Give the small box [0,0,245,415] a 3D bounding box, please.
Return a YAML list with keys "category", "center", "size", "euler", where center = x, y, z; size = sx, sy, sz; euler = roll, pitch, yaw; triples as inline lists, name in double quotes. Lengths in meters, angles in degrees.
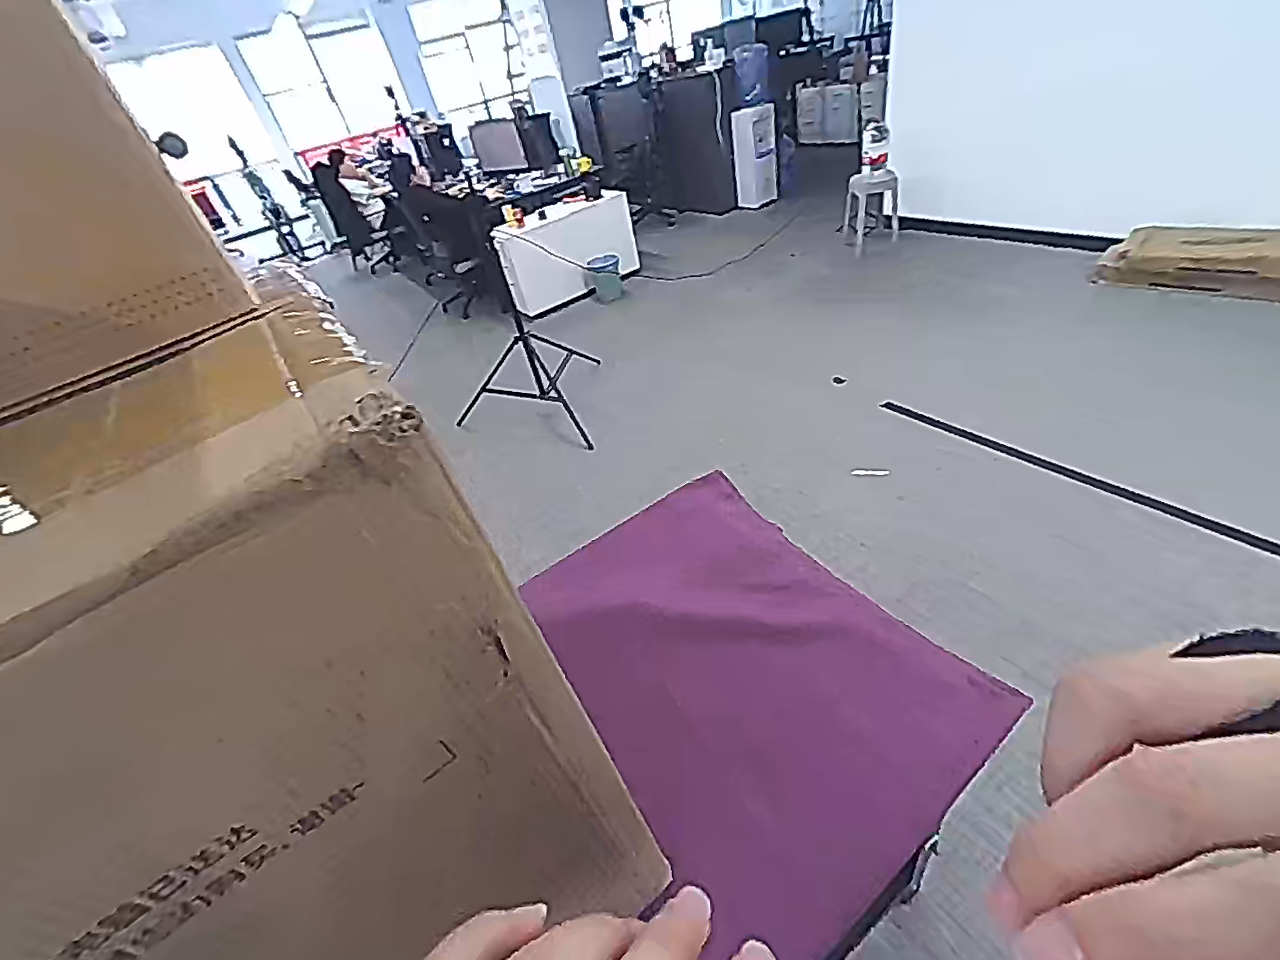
- category: "small box"
  center: [-0.369, -0.159, 0.318]
  size: [0.179, 0.176, 0.168]
  euler: [-34, 42, -20]
